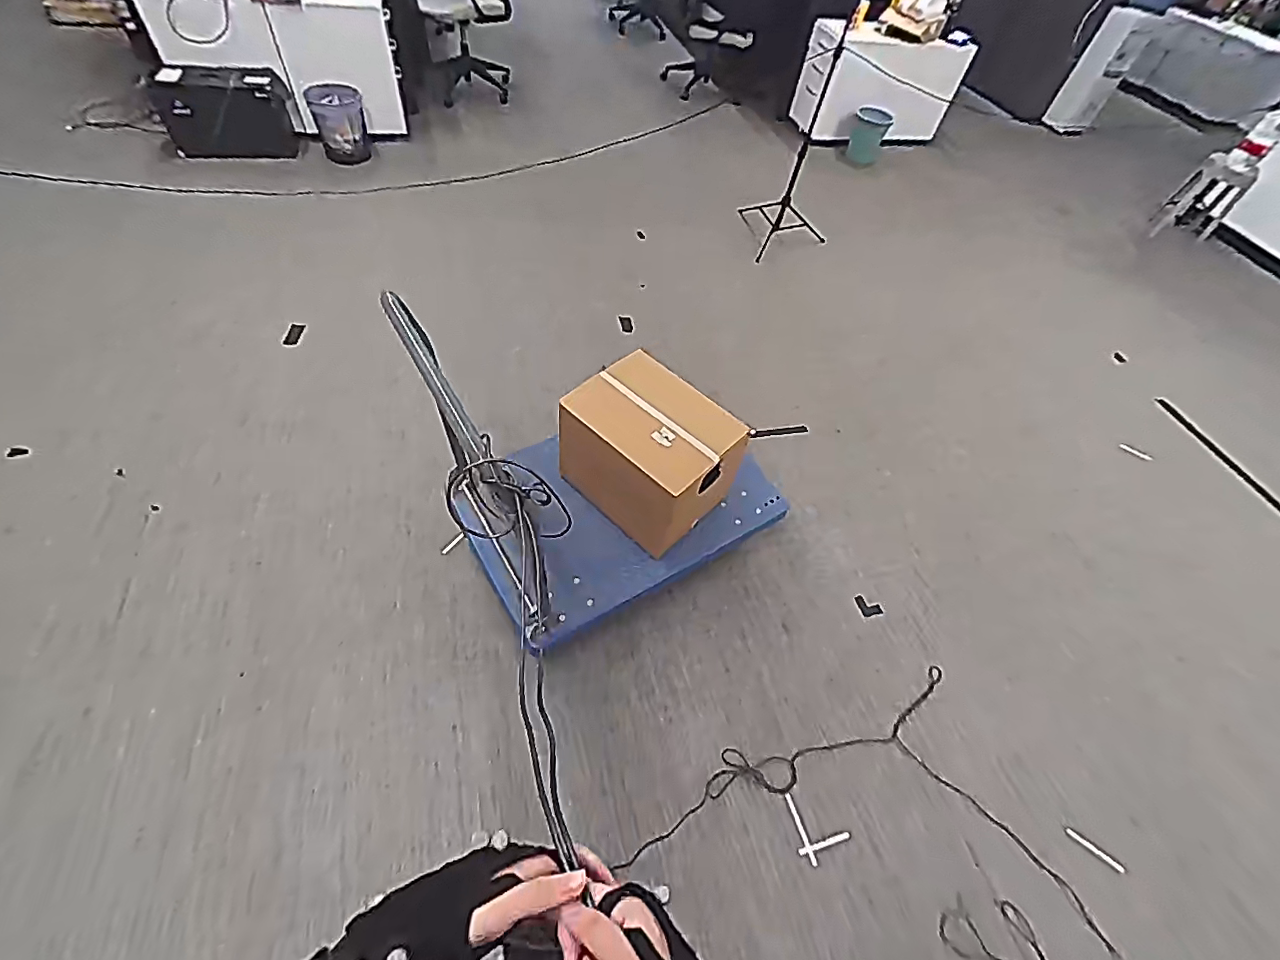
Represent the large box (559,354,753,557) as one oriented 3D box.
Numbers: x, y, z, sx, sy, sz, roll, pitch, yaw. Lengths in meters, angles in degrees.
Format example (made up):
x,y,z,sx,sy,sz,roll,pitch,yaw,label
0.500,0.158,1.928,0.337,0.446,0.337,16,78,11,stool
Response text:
x,y,z,sx,sy,sz,roll,pitch,yaw,label
0.024,-0.069,1.490,0.408,0.320,0.320,40,59,18,large box
